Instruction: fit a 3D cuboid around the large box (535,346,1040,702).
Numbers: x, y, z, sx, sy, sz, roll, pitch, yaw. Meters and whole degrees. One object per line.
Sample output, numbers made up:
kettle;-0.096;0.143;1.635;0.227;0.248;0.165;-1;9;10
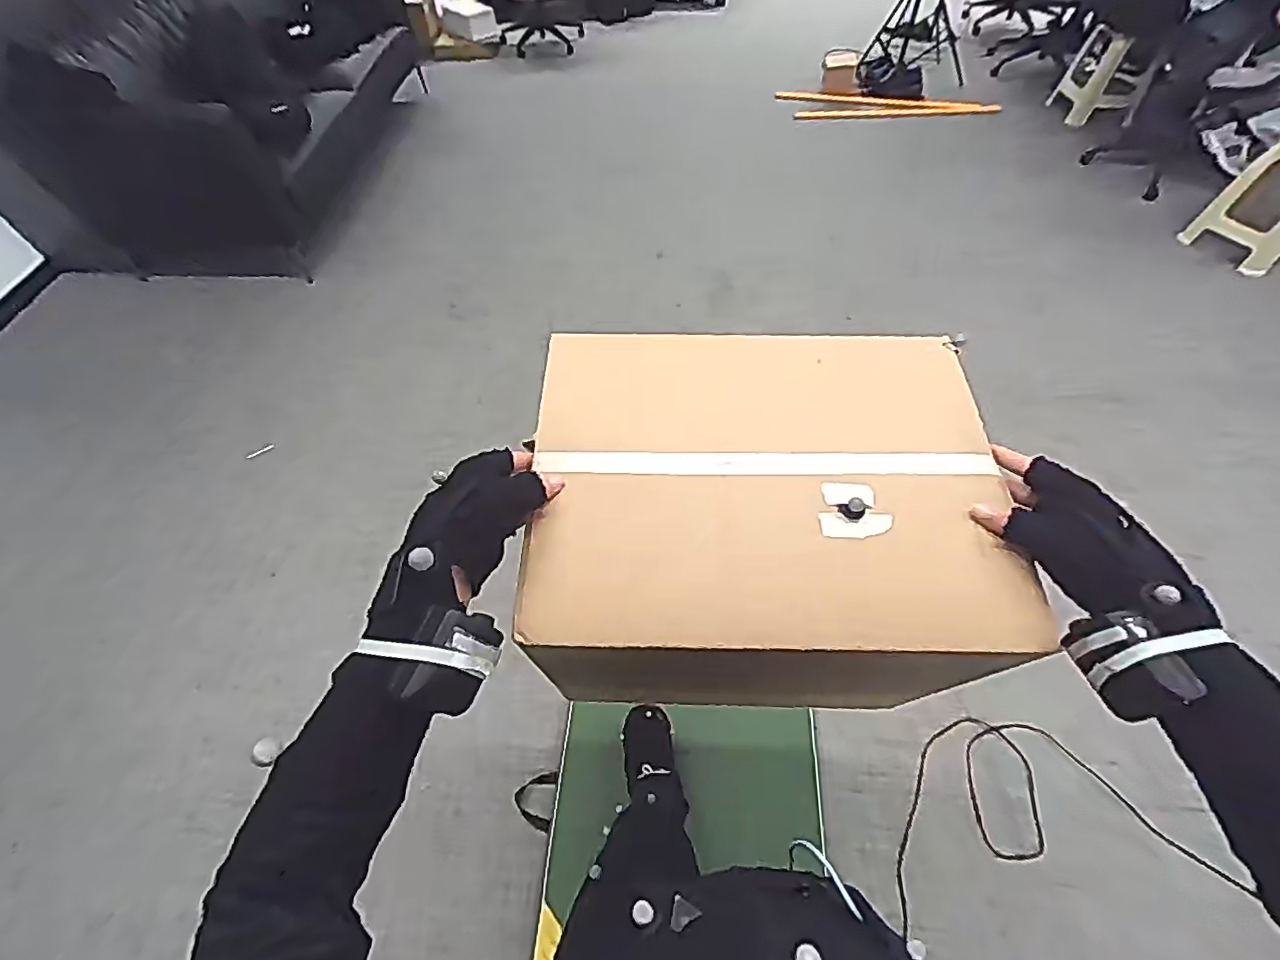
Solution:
large box;0.112;0.066;0.620;0.408;0.320;0.320;1;61;0
